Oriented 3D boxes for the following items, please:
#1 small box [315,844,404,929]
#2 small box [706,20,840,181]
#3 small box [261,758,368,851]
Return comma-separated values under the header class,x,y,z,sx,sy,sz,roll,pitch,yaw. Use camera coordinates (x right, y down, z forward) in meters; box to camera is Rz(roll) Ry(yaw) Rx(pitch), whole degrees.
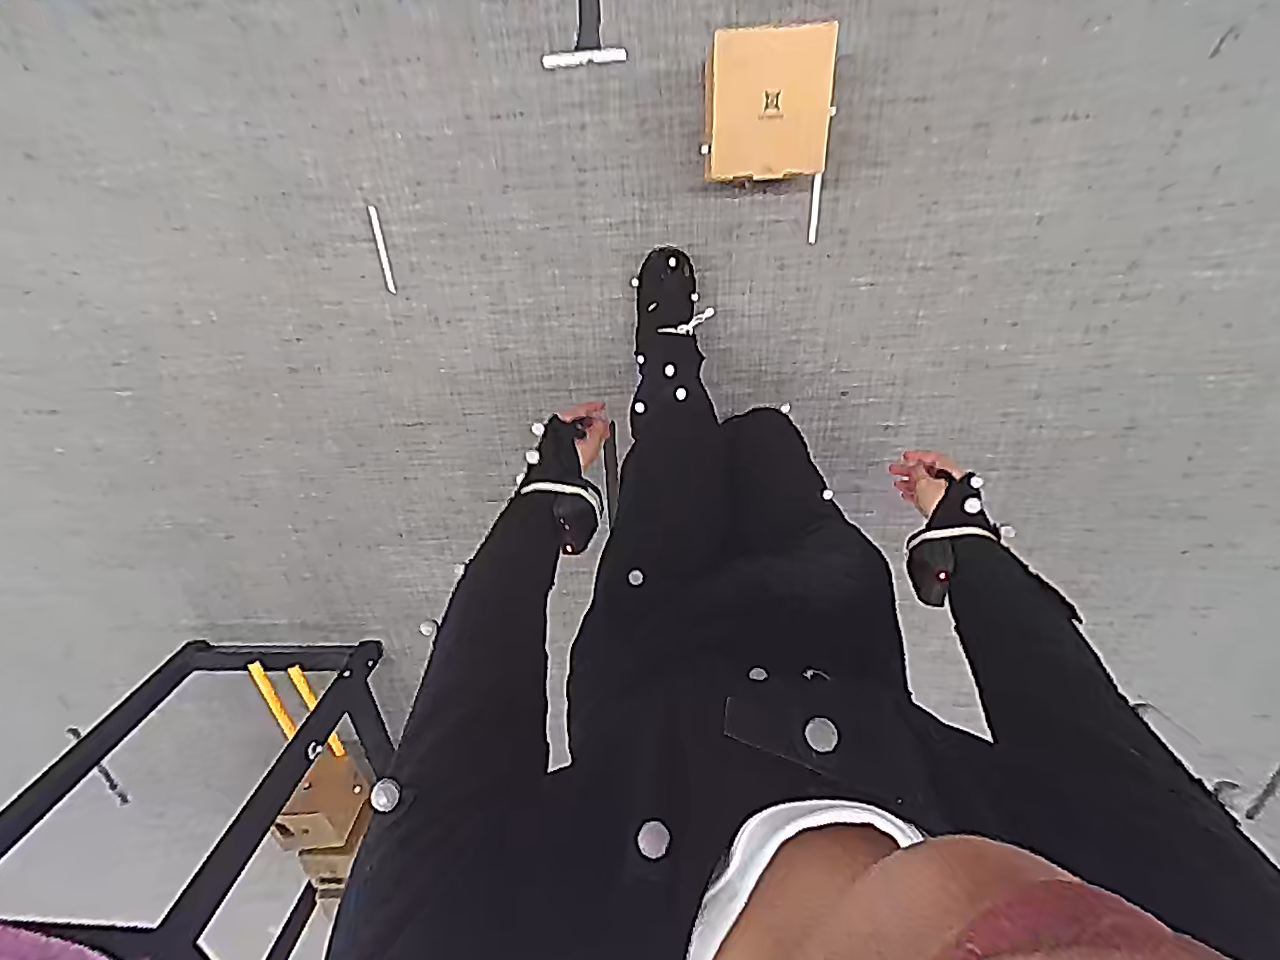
class,x,y,z,sx,sy,sz,roll,pitch,yaw
small box,-0.887,1.295,1.729,0.179,0.176,0.168,-3,117,2
small box,0.187,-0.560,0.820,0.168,0.176,0.179,-1,118,3
small box,-0.913,0.917,1.534,0.179,0.176,0.168,-4,119,2
